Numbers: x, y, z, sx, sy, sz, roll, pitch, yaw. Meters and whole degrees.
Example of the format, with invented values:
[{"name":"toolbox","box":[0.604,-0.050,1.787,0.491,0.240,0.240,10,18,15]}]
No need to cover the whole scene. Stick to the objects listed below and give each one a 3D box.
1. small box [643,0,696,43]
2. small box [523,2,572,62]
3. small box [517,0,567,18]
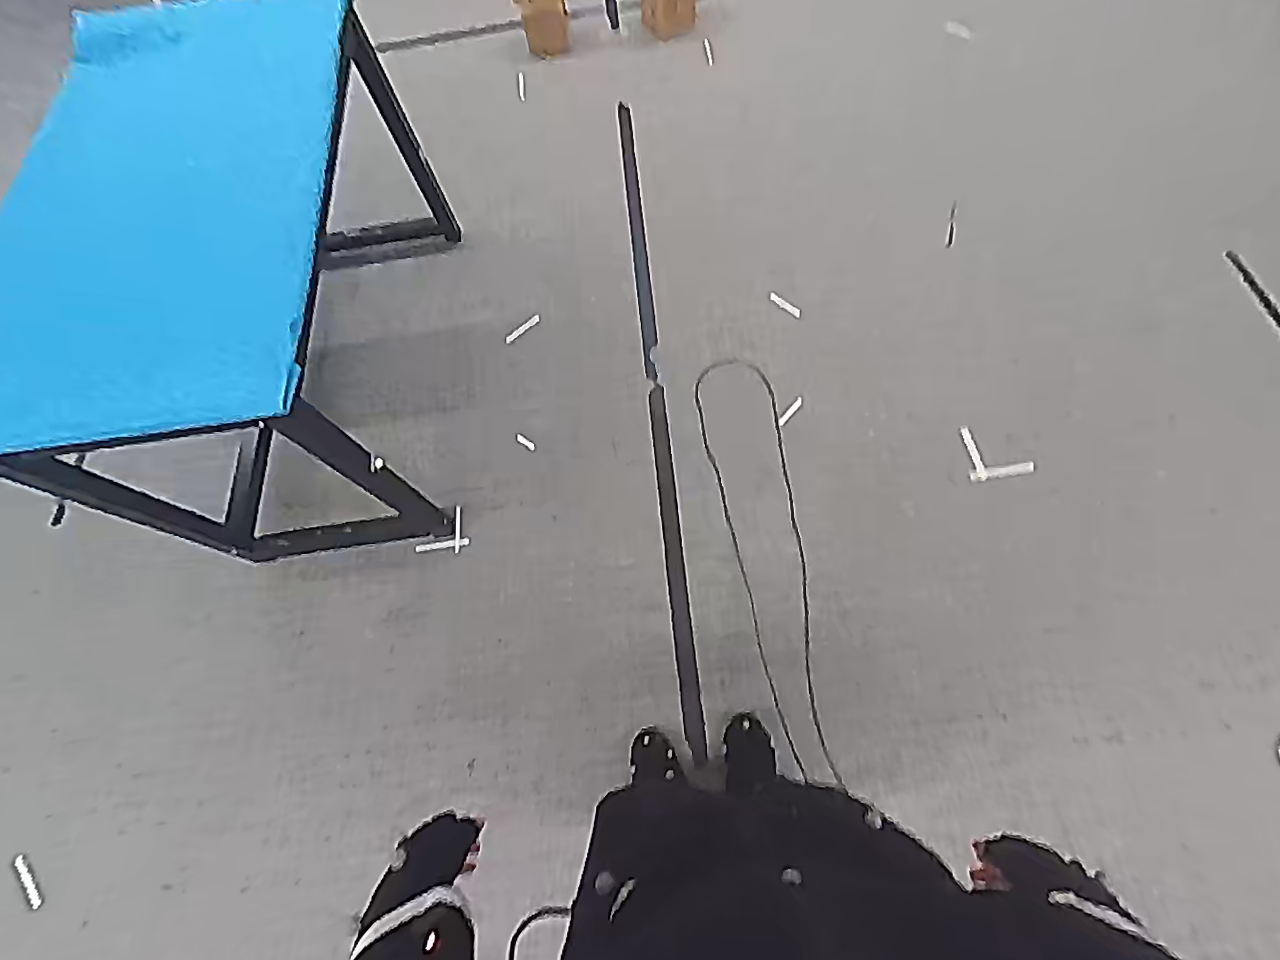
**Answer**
[{"name":"small box","box":[0.128,-2.020,2.308,0.179,0.176,0.168,-35,71,-10]},{"name":"small box","box":[-0.391,-1.936,2.315,0.179,0.176,0.168,-5,66,4]},{"name":"small box","box":[-0.406,-2.012,2.166,0.179,0.176,0.168,28,72,16]}]
